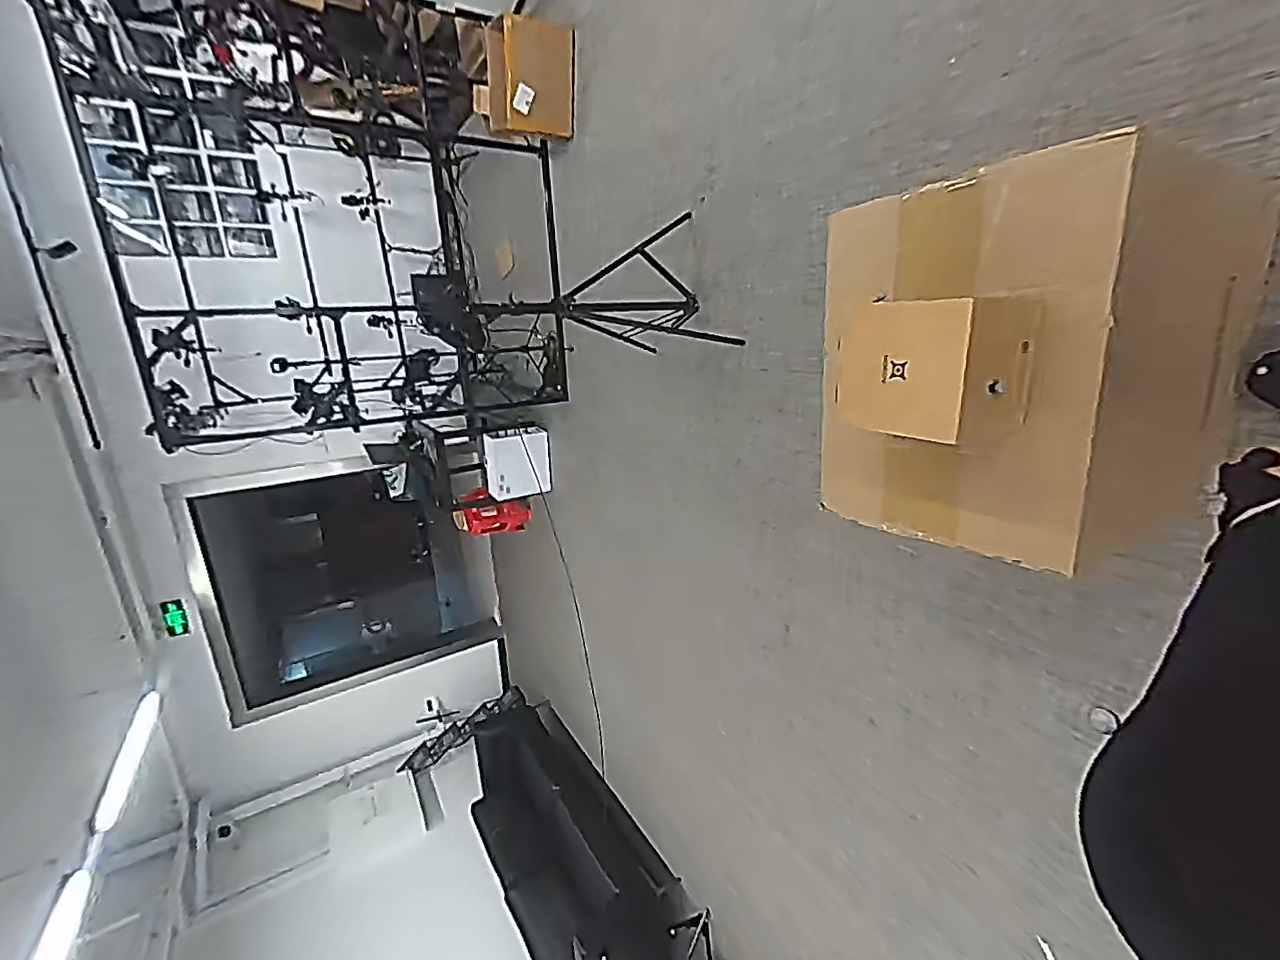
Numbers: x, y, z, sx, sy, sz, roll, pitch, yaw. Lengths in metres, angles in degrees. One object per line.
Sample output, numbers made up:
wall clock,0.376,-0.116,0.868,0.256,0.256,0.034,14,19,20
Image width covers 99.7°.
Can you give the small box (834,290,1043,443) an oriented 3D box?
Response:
small box,0.381,-0.153,0.700,0.179,0.176,0.168,23,120,56
